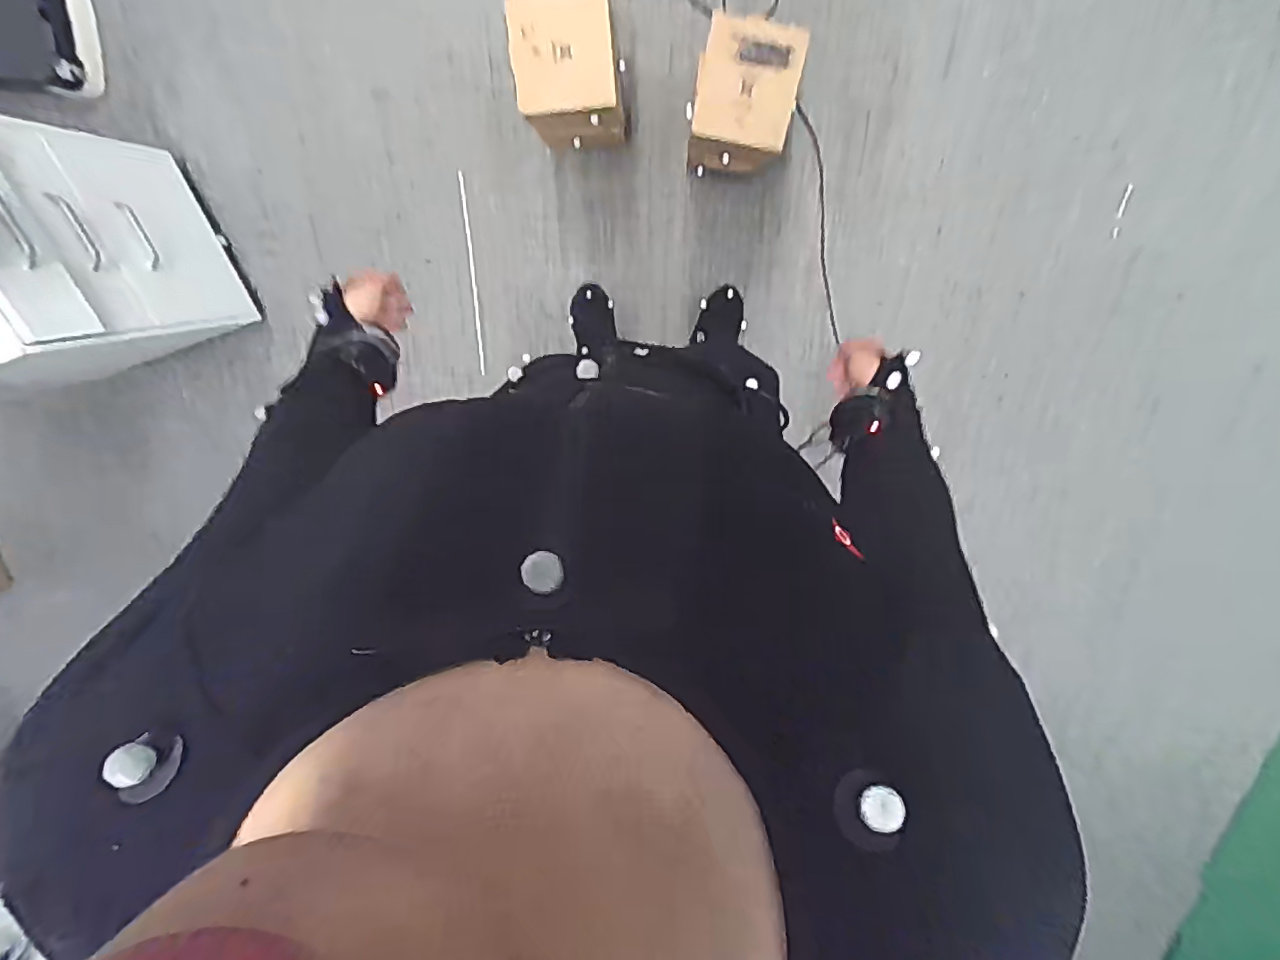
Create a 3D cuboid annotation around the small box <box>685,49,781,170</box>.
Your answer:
[{"bbox_3d":[0.187,-0.766,1.138,0.168,0.176,0.179,6,112,0],"label":"small box"}]

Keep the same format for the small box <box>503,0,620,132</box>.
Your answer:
[{"bbox_3d":[-0.130,-0.751,0.983,0.179,0.176,0.168,-3,112,5],"label":"small box"}]

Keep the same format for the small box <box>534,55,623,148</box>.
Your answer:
[{"bbox_3d":[-0.129,-0.810,1.137,0.179,0.176,0.168,-2,113,4],"label":"small box"}]
